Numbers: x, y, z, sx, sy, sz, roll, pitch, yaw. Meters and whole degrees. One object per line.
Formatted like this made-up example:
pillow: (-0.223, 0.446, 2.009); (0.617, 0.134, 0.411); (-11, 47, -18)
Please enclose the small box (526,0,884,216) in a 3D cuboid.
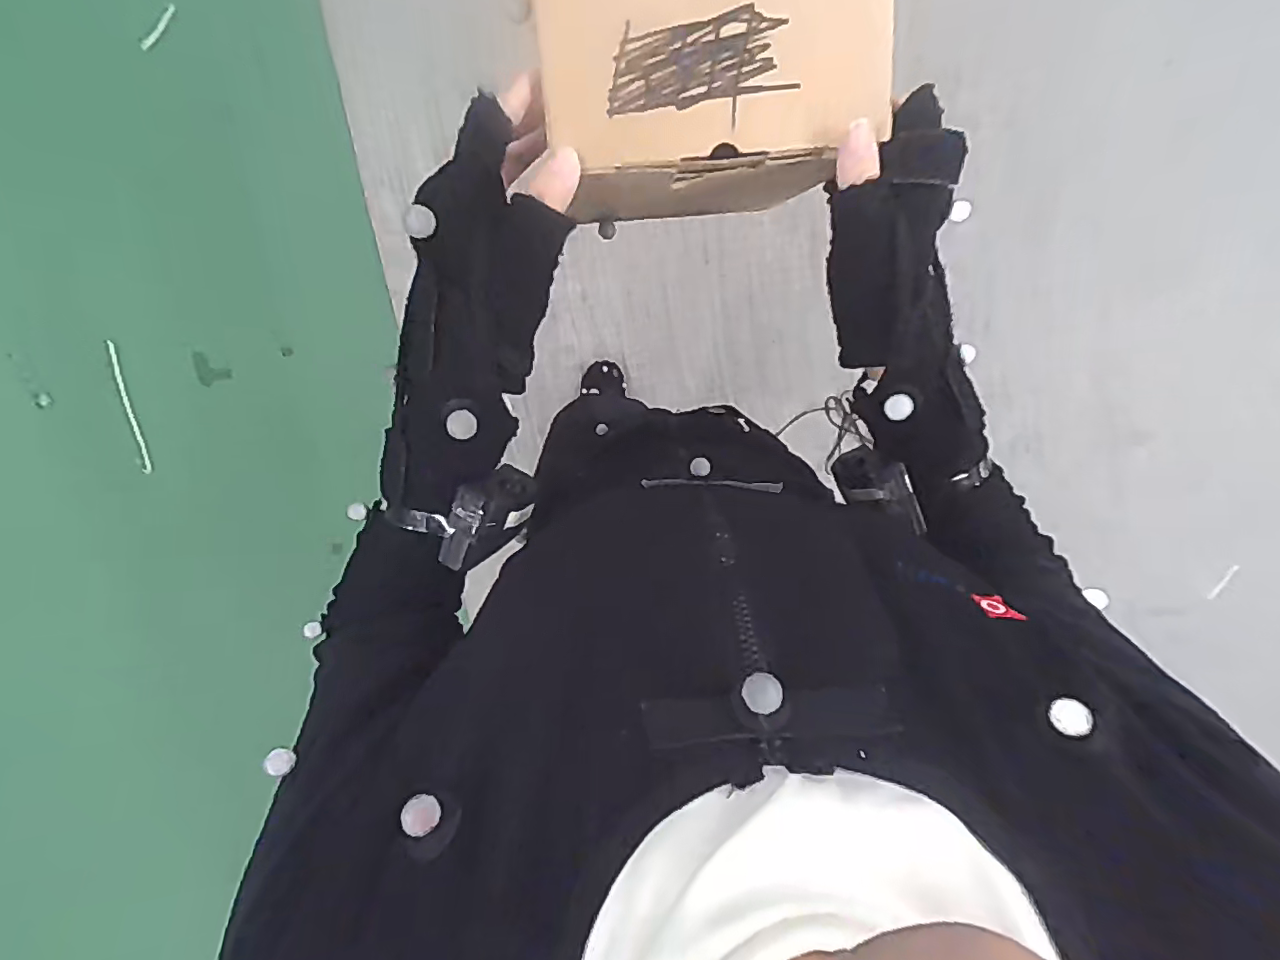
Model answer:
small box: (0.023, -0.261, 0.313); (0.168, 0.176, 0.179); (-7, 107, -3)
